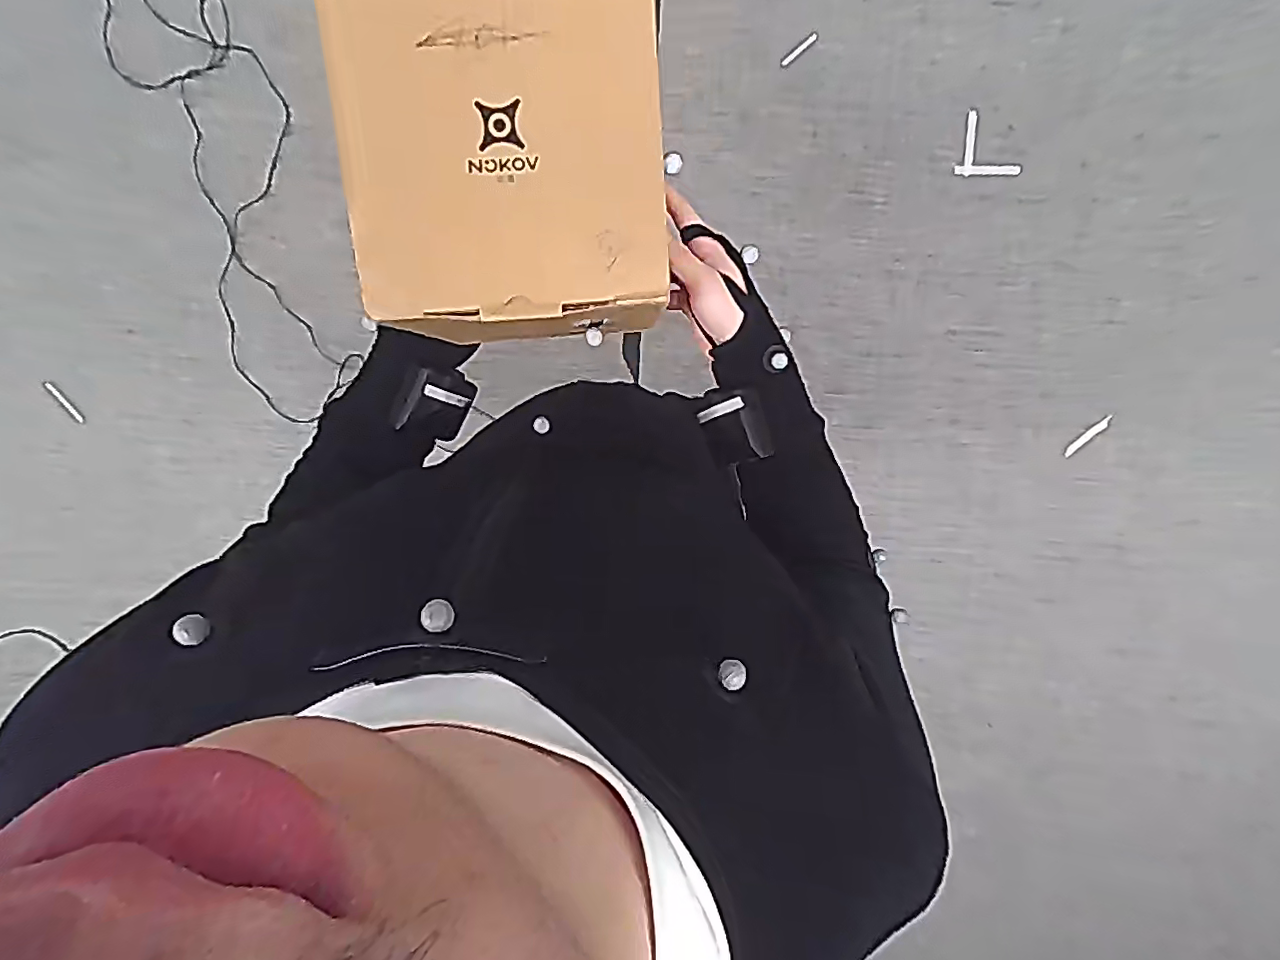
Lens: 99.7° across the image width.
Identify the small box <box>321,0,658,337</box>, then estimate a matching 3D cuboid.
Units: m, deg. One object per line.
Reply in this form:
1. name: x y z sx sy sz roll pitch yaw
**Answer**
1. small box: -0.078 -0.193 0.366 0.168 0.176 0.179 -5 100 -2
